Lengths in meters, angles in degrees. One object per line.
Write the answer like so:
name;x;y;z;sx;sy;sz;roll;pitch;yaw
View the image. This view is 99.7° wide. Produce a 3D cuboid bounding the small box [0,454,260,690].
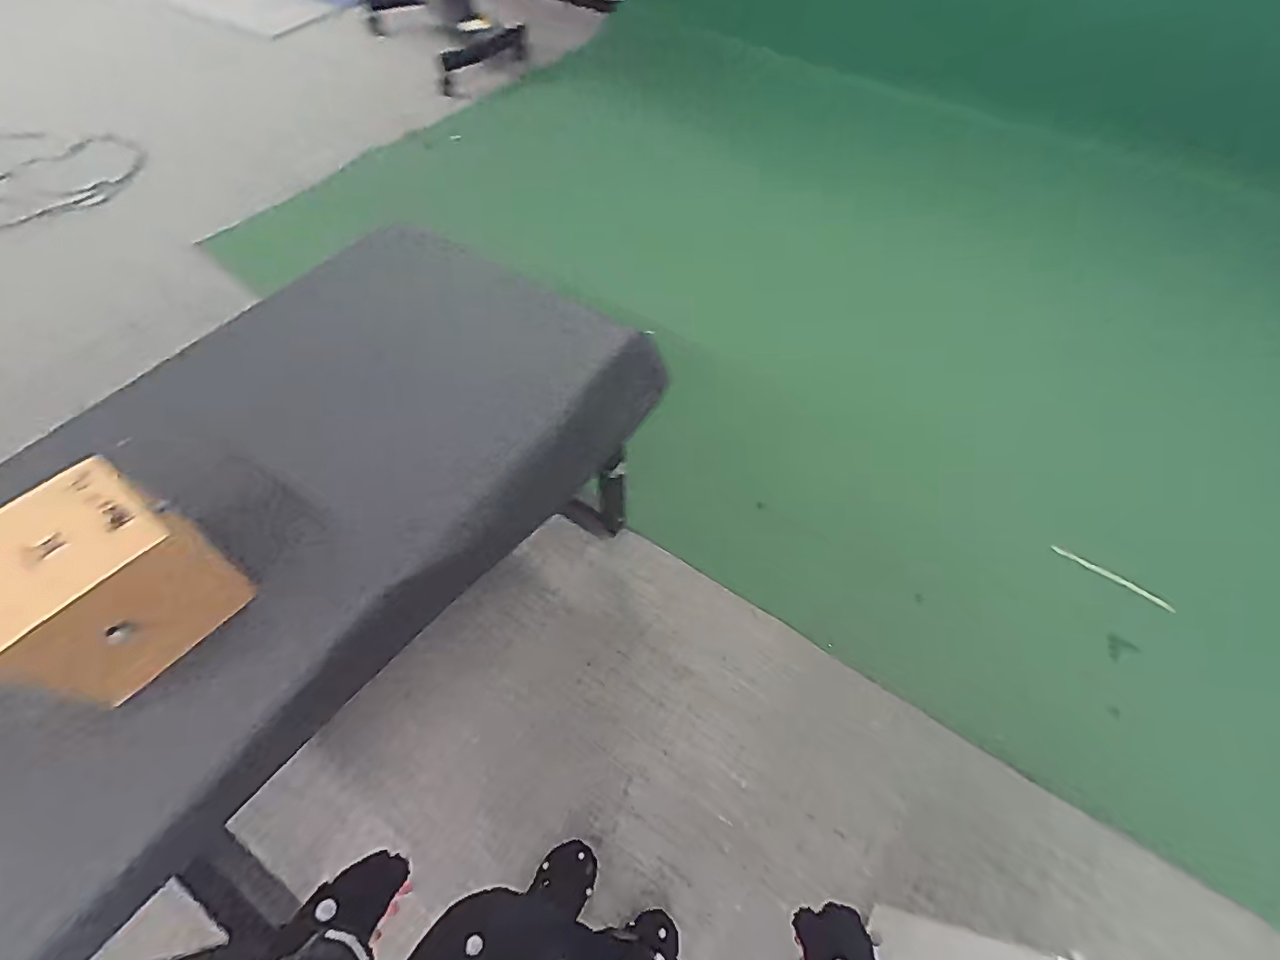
small box;-0.598;0.112;0.619;0.168;0.176;0.179;34;64;19
